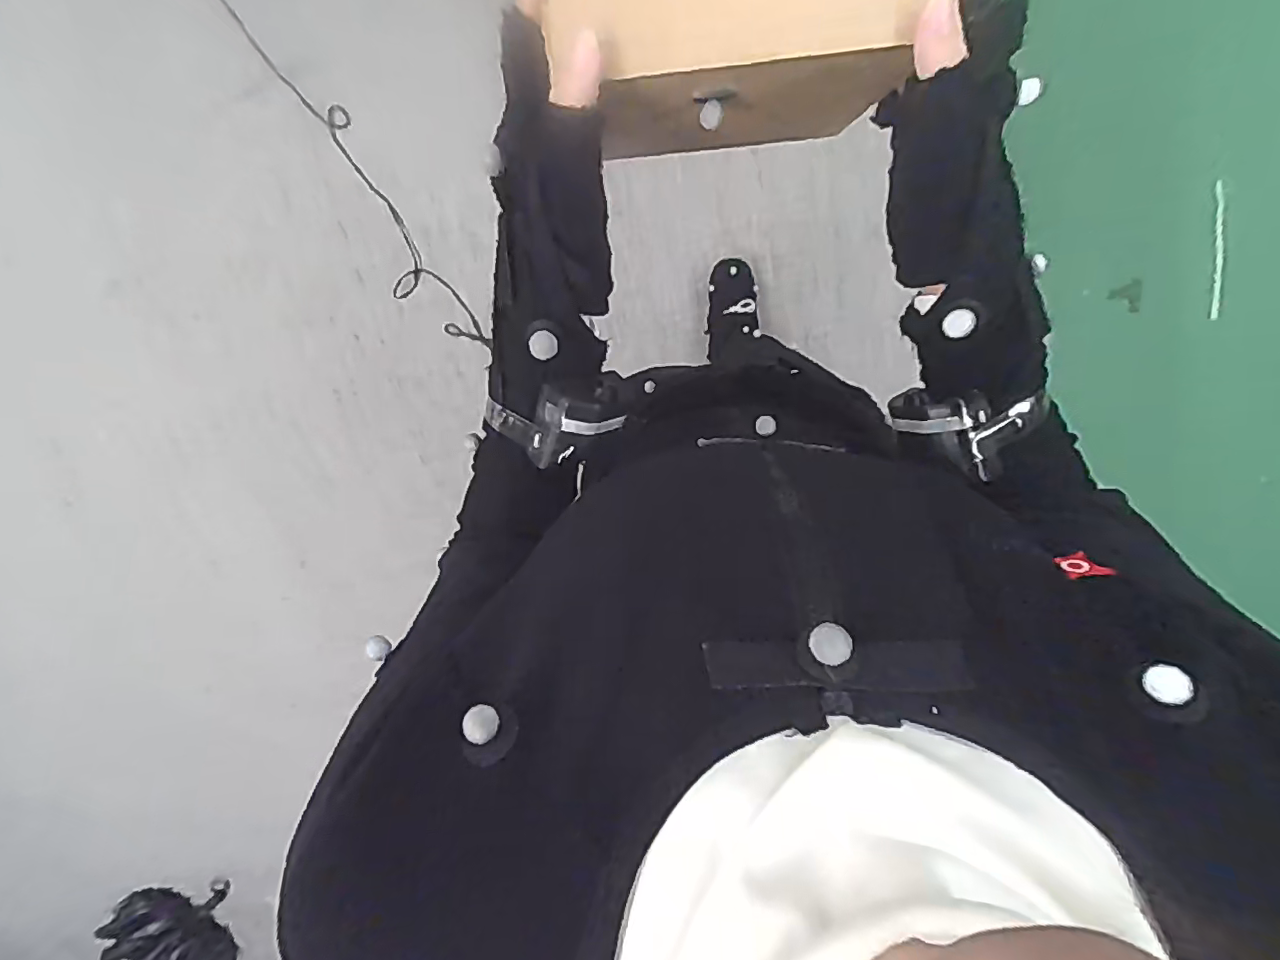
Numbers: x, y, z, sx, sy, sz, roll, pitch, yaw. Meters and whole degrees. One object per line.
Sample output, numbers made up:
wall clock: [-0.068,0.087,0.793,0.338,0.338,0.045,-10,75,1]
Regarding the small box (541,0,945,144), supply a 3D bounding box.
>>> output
small box: [0.043,-0.296,0.286,0.179,0.176,0.168,-4,109,3]
